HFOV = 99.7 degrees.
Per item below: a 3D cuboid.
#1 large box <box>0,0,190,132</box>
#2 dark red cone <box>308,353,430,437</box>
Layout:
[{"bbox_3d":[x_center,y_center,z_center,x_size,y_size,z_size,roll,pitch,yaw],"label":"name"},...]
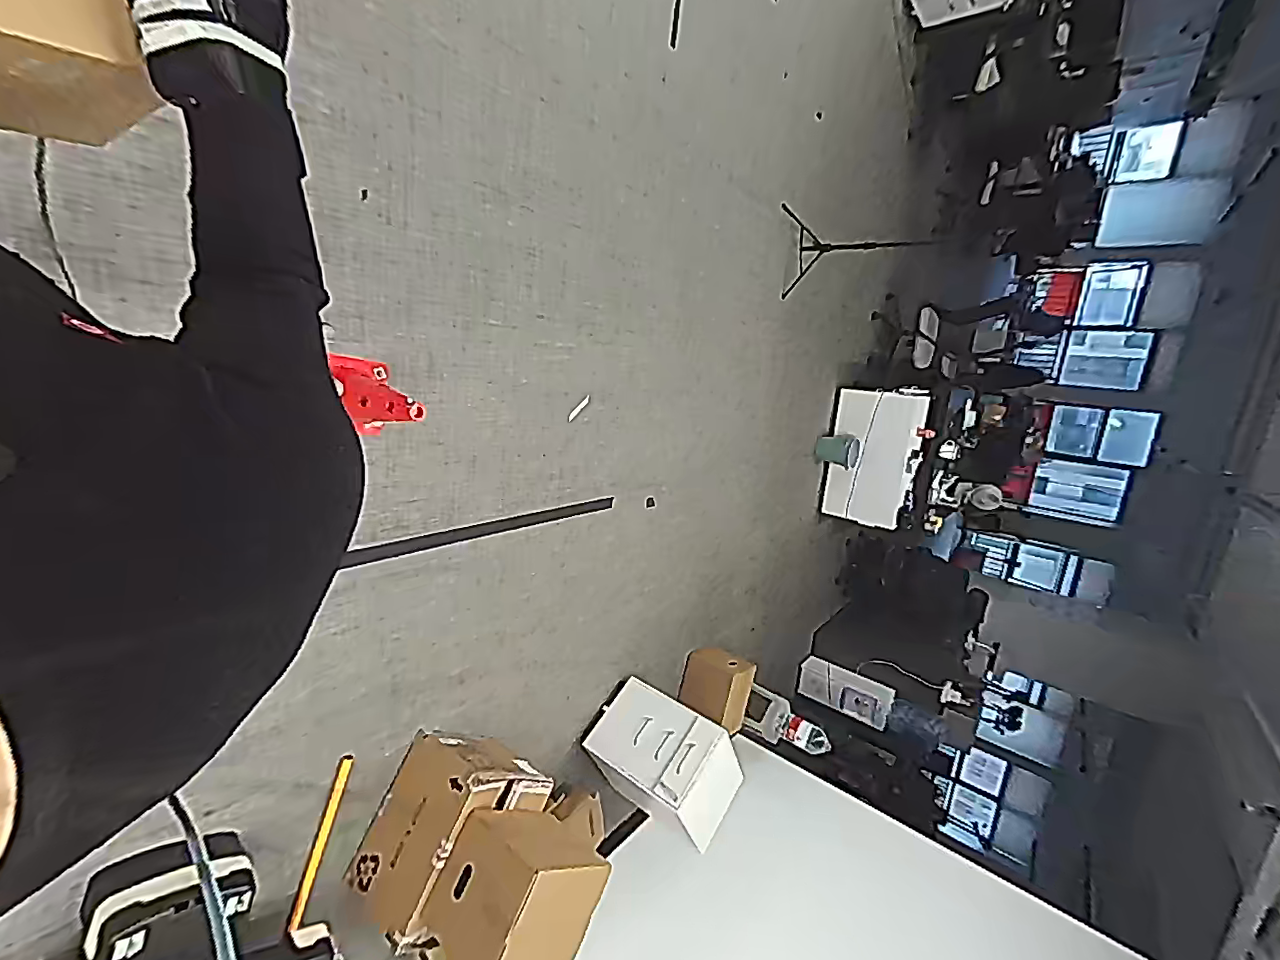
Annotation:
[{"bbox_3d":[-0.551,-0.419,0.268,0.408,0.320,0.320,-20,119,-51],"label":"large box"},{"bbox_3d":[-0.622,-0.181,1.299,0.201,0.394,0.202,0,102,-51],"label":"dark red cone"}]
